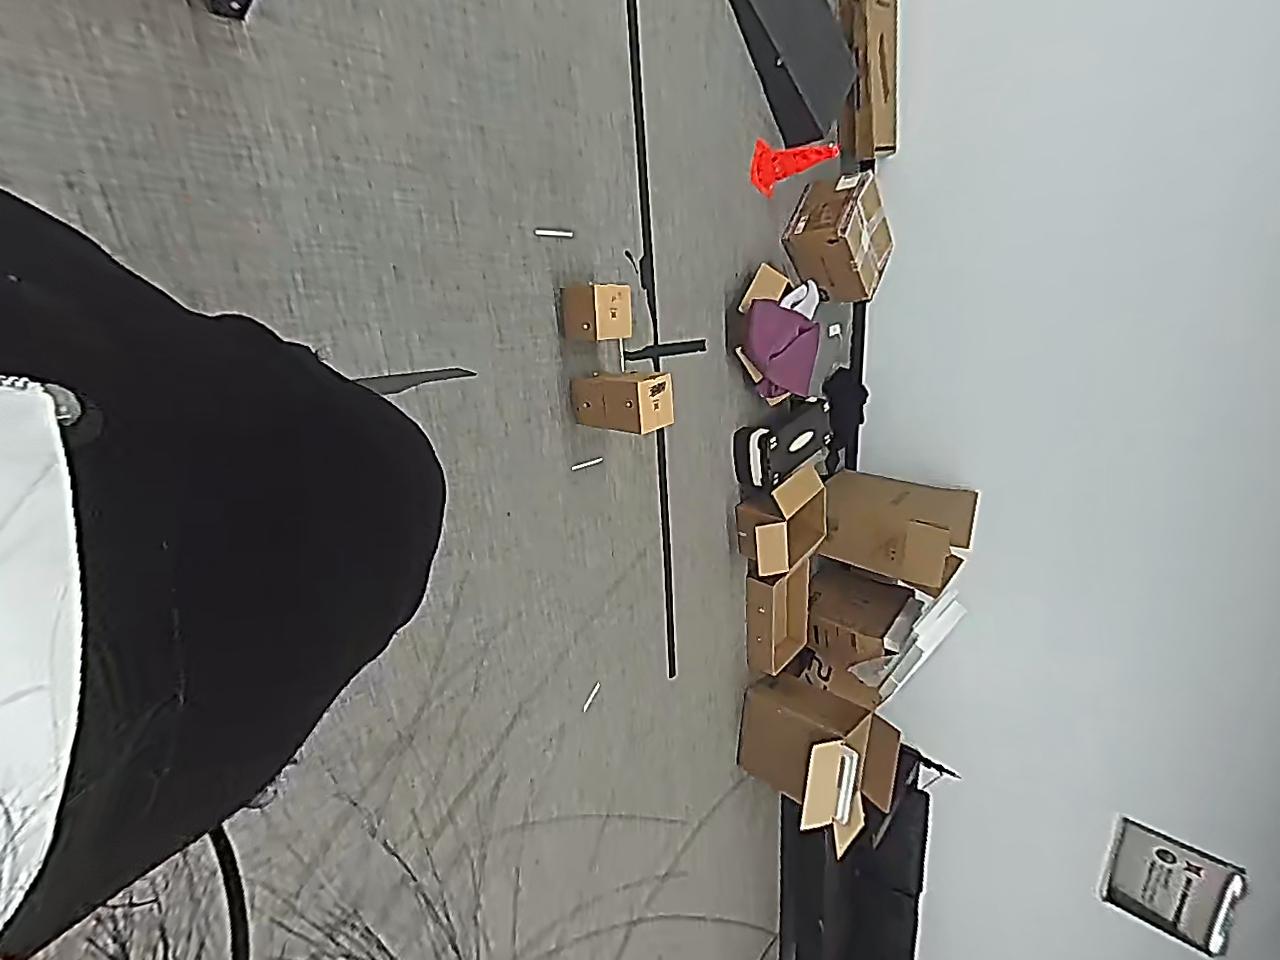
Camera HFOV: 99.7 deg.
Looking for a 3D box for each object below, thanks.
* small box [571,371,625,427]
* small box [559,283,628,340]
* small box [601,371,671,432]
[{"bbox_3d":[-0.133,-0.296,1.950,0.179,0.176,0.168,-24,117,-41],"label":"small box"},{"bbox_3d":[-0.159,-0.575,1.847,0.168,0.176,0.179,-19,113,-43],"label":"small box"},{"bbox_3d":[-0.016,-0.273,1.835,0.168,0.176,0.179,-24,118,-41],"label":"small box"}]
